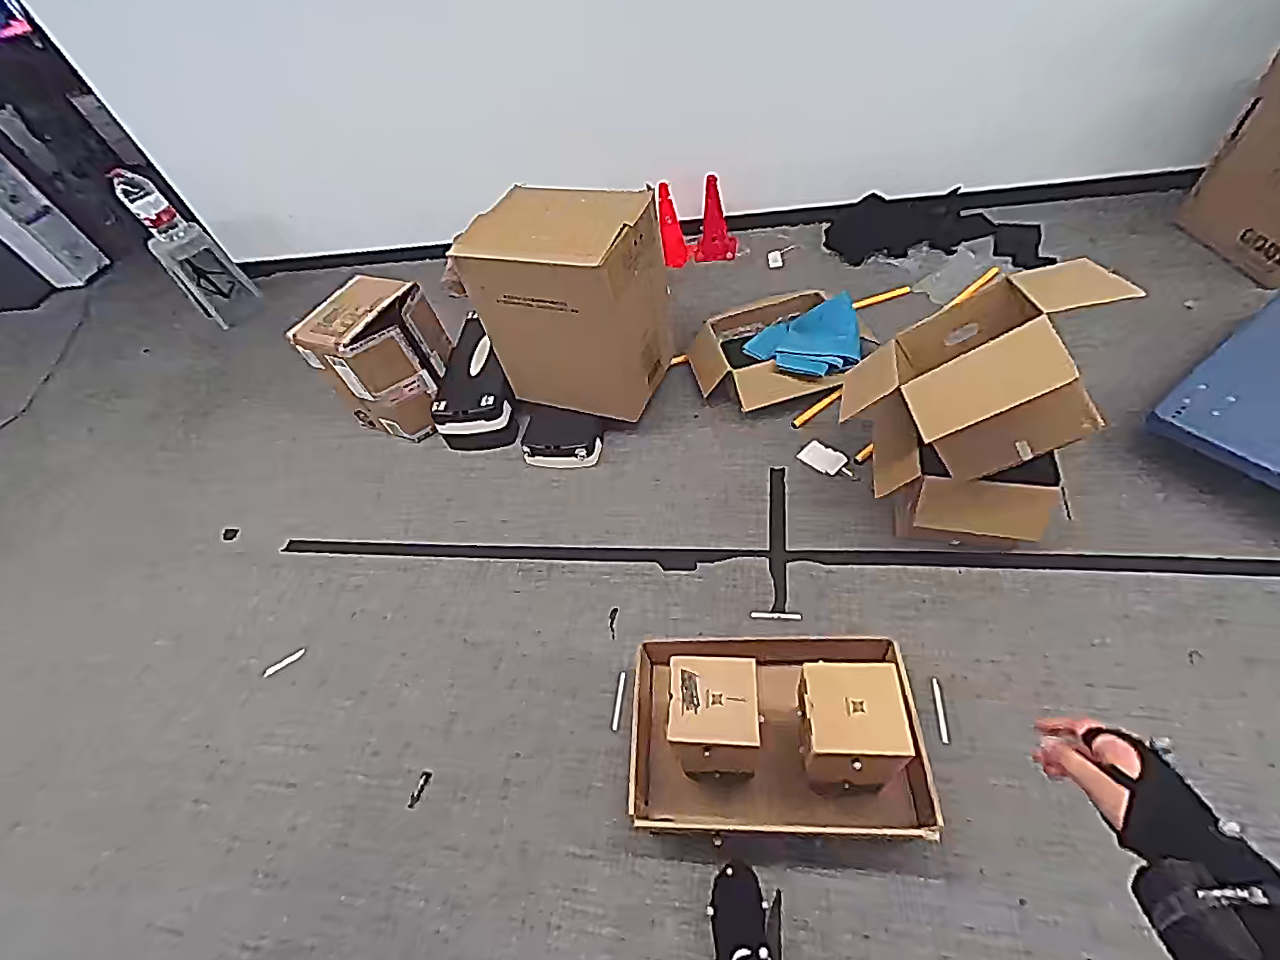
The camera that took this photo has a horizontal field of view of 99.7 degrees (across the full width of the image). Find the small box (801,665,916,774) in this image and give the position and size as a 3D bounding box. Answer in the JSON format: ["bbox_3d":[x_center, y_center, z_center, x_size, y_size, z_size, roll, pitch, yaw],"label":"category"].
[{"bbox_3d":[0.421,0.476,1.072,0.179,0.176,0.168,-4,52,11],"label":"small box"}]

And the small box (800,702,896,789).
[{"bbox_3d":[0.452,0.573,1.199,0.168,0.176,0.179,-3,51,10],"label":"small box"}]

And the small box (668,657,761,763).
[{"bbox_3d":[0.158,0.480,1.123,0.179,0.176,0.168,-1,53,9],"label":"small box"}]
